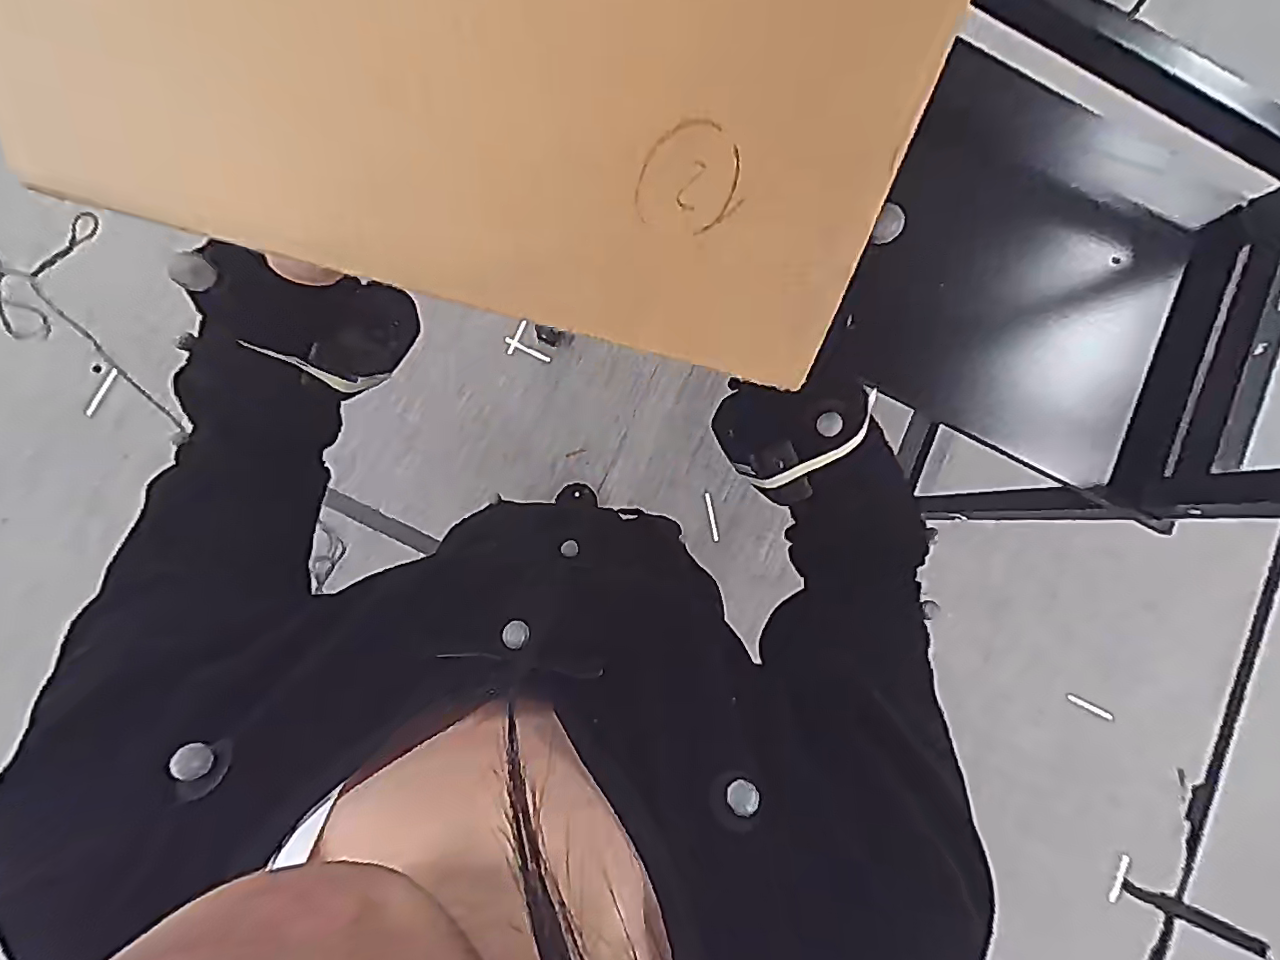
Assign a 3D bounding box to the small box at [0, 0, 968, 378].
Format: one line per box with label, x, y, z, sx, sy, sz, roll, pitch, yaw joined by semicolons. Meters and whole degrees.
small box;-0.016;-0.152;0.134;0.168;0.176;0.179;14;121;-4
